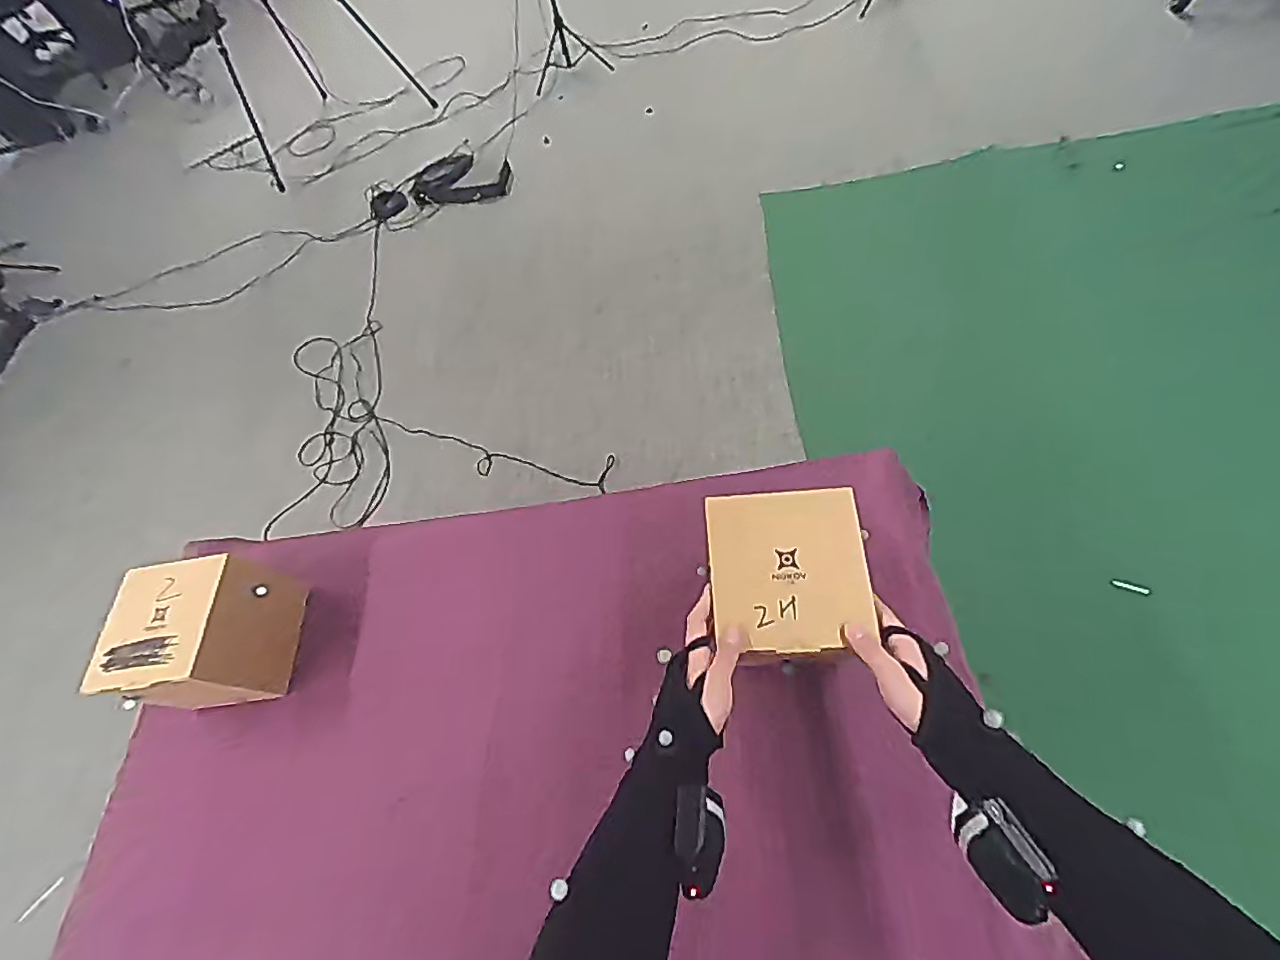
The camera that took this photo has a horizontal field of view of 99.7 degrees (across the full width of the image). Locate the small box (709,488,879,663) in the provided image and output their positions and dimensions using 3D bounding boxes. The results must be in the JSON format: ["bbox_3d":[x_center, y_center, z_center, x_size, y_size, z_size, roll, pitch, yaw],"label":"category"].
[{"bbox_3d":[0.170,0.123,0.654,0.168,0.176,0.179,-4,68,8],"label":"small box"}]
